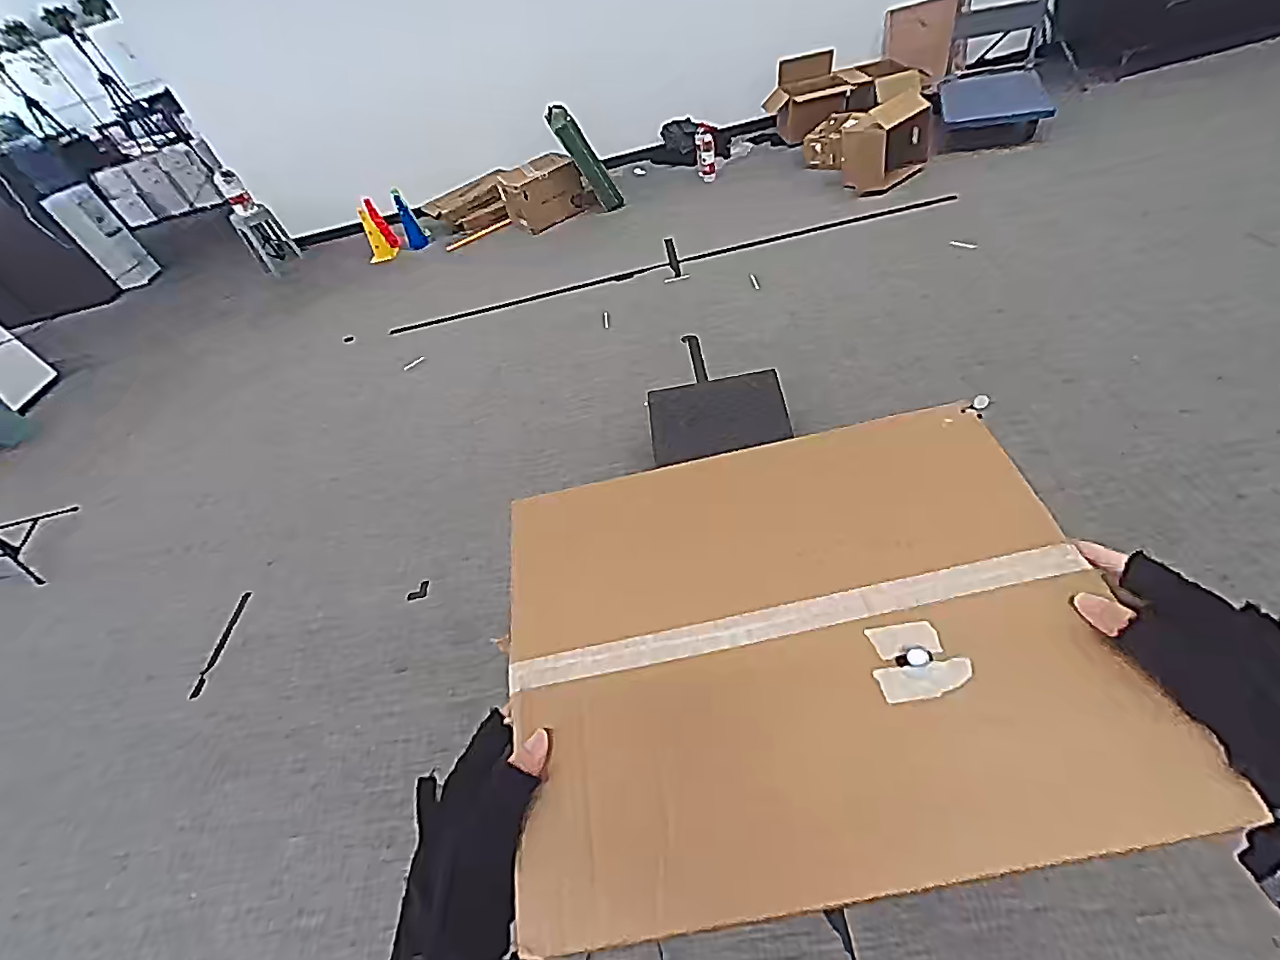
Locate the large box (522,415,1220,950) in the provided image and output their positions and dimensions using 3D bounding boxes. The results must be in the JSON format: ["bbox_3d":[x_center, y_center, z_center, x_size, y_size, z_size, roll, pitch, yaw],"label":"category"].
[{"bbox_3d":[0.132,0.193,0.514,0.408,0.320,0.320,-13,53,2],"label":"large box"}]
